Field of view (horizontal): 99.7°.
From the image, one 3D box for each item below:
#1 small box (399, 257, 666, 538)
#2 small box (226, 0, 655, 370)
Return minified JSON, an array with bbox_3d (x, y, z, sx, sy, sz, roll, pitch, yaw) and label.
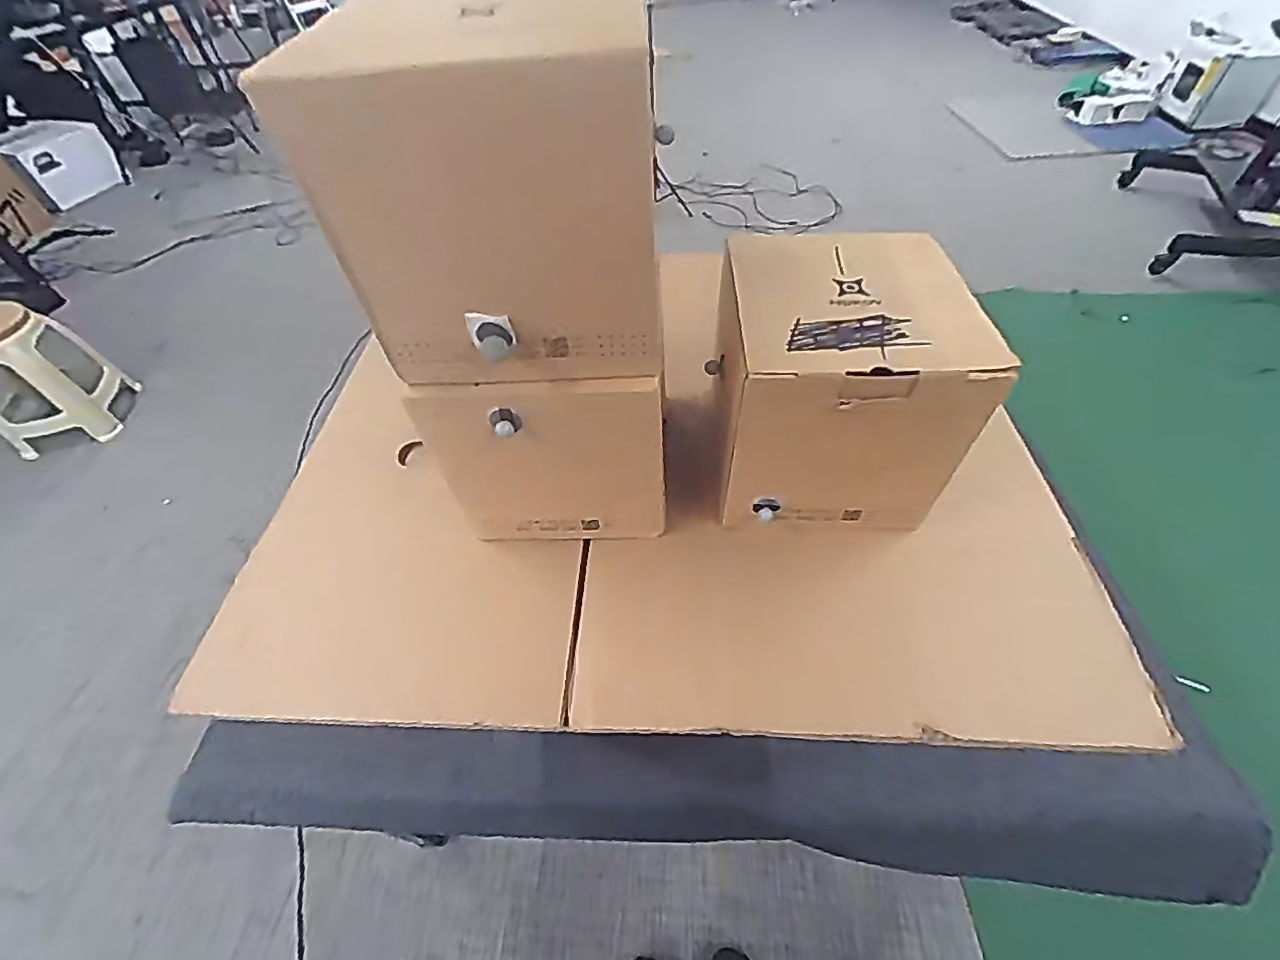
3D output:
[{"bbox_3d":[-0.066,-0.070,0.454,0.168,0.176,0.179,-2,51,5],"label":"small box"},{"bbox_3d":[-0.078,-0.188,0.321,0.168,0.176,0.179,-4,53,3],"label":"small box"}]
